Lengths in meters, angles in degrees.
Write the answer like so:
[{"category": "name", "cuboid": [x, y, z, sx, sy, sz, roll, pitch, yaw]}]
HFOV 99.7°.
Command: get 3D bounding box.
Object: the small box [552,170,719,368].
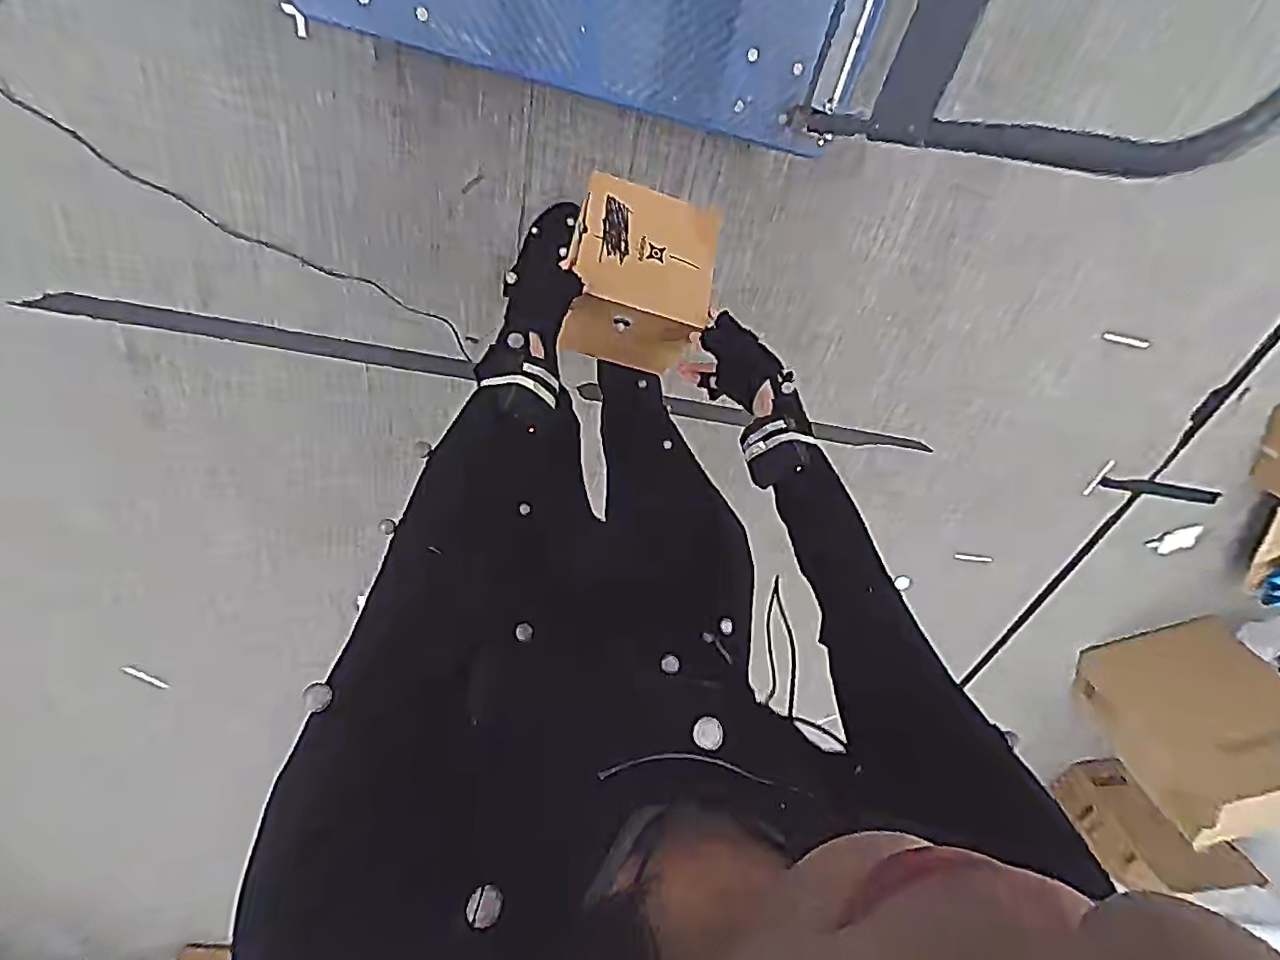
[{"category": "small box", "cuboid": [-0.015, -0.273, 0.744, 0.179, 0.168, 0.176, 13, 167, -16]}]
